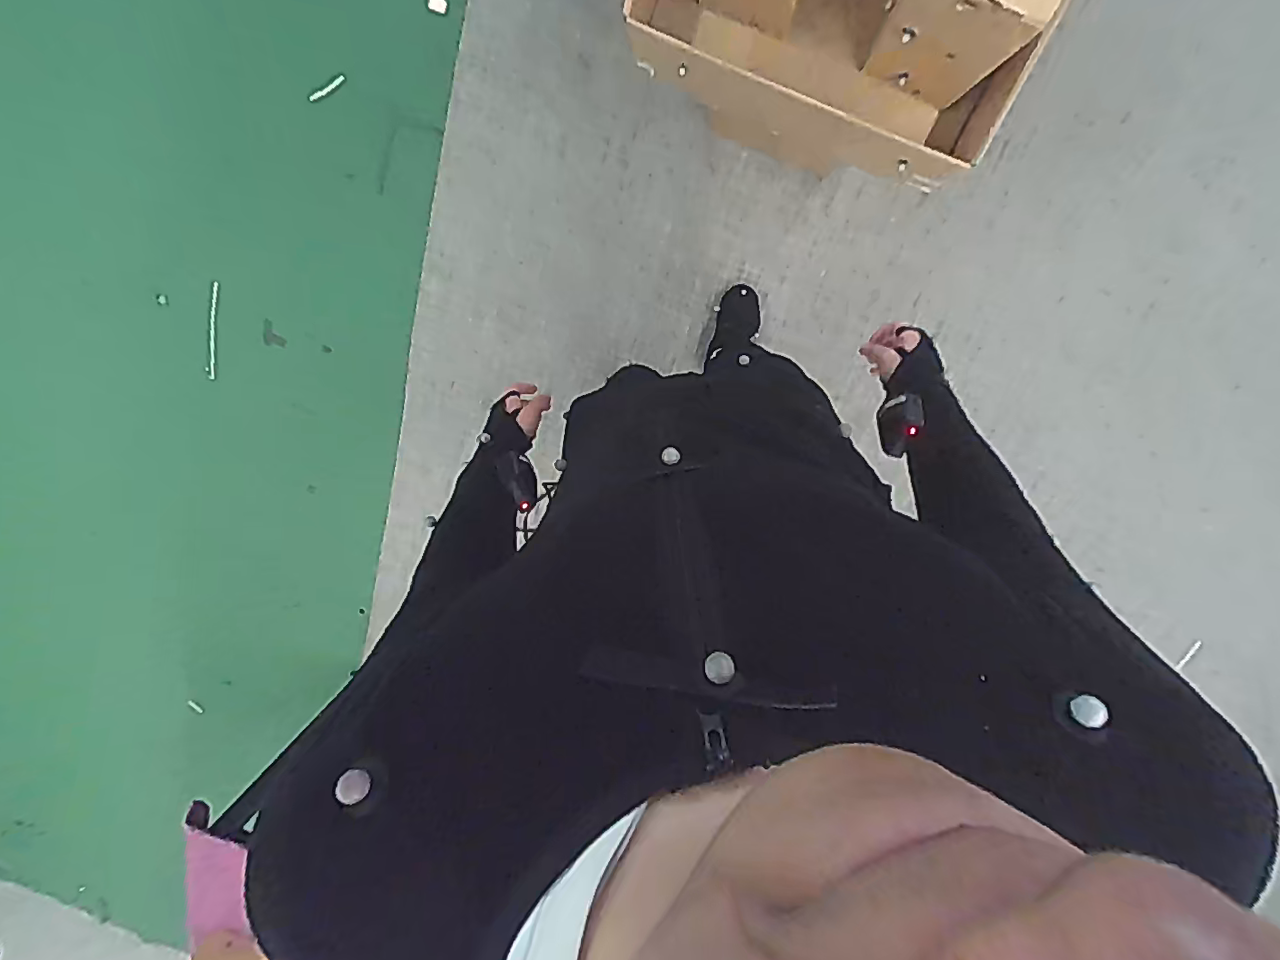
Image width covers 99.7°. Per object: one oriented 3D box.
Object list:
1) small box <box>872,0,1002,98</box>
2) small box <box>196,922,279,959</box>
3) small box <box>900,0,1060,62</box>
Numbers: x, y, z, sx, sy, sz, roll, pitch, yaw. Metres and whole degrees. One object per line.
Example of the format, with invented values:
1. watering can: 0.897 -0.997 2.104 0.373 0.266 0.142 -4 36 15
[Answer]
1. small box: 0.483 -0.732 0.825 0.168 0.176 0.179 23 112 0
2. small box: -1.113 1.355 1.459 0.168 0.176 0.179 19 111 1
3. small box: 0.453 -0.673 0.674 0.168 0.176 0.179 24 111 0
